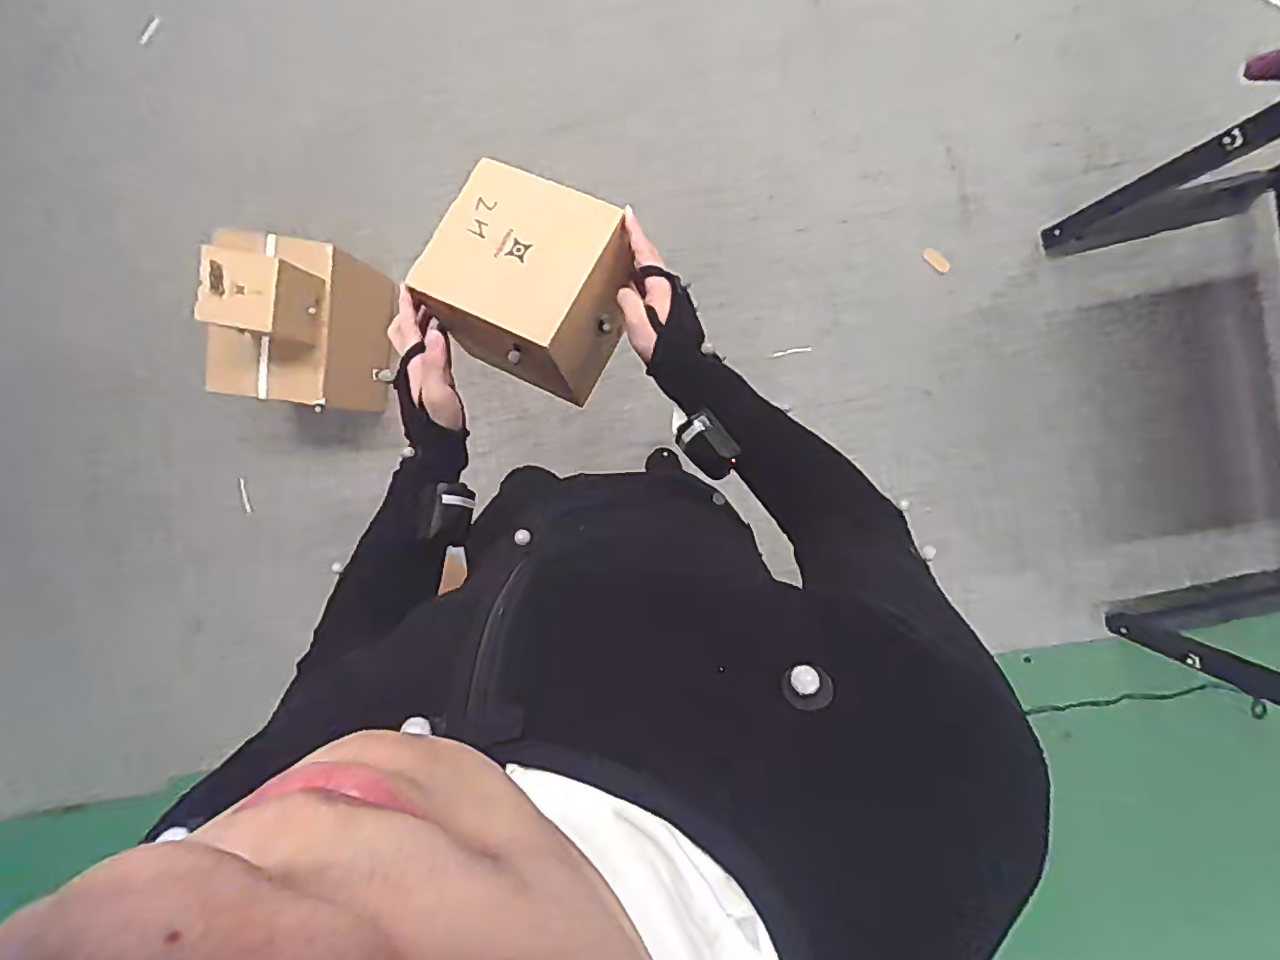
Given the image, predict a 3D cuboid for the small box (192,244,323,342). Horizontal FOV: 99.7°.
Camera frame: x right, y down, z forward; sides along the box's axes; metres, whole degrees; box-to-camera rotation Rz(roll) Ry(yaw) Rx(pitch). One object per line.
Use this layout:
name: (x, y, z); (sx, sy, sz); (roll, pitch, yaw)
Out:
small box: (-0.880, -0.425, 1.255); (0.179, 0.176, 0.168); (10, 95, 0)
